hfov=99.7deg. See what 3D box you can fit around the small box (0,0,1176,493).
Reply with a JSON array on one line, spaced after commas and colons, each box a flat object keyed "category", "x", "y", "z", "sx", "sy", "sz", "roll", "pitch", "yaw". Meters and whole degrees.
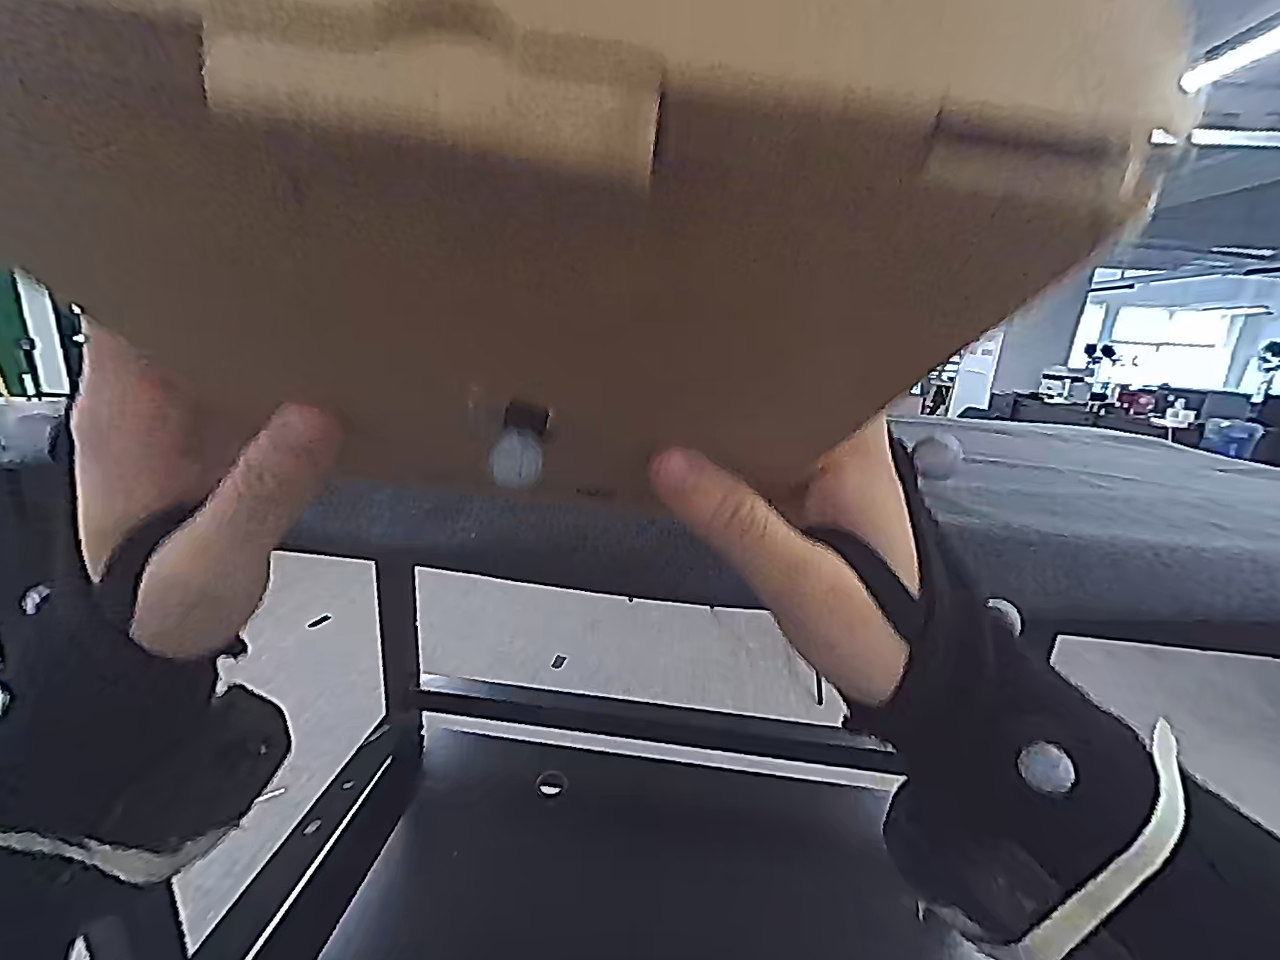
[{"category": "small box", "x": -0.020, "y": -0.103, "z": 0.158, "sx": 0.168, "sy": 0.179, "sz": 0.176, "roll": 6, "pitch": -17, "yaw": -5}]
